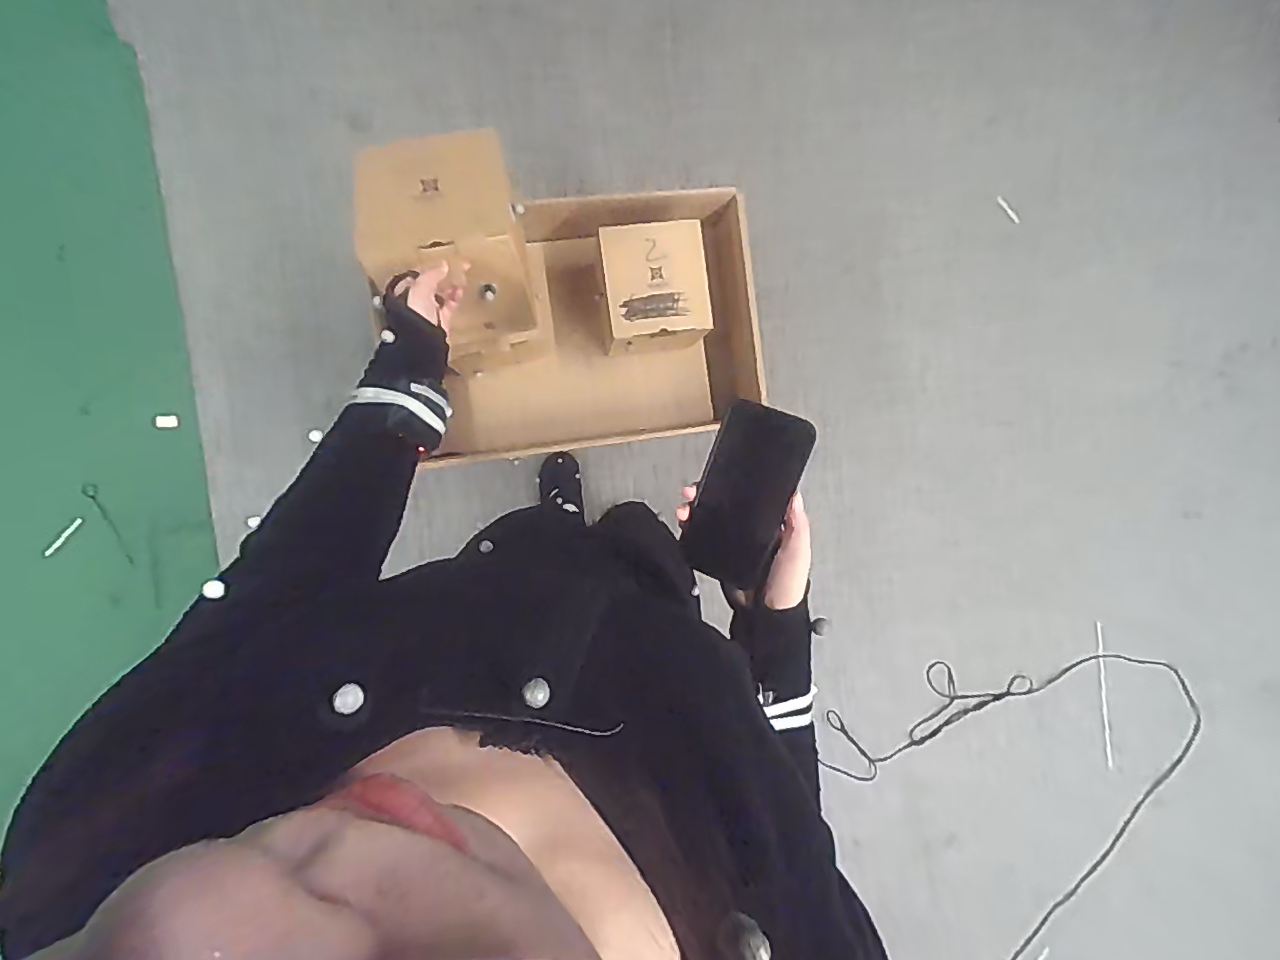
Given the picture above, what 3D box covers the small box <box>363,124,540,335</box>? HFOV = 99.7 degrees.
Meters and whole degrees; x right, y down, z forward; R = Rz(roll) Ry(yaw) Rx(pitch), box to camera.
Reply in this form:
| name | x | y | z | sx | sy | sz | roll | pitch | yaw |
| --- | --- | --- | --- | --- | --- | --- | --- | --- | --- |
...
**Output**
| name | x | y | z | sx | sy | sz | roll | pitch | yaw |
| --- | --- | --- | --- | --- | --- | --- | --- | --- | --- |
| small box | -0.229 | -0.303 | 0.685 | 0.168 | 0.176 | 0.179 | -10 | 69 | -4 |
